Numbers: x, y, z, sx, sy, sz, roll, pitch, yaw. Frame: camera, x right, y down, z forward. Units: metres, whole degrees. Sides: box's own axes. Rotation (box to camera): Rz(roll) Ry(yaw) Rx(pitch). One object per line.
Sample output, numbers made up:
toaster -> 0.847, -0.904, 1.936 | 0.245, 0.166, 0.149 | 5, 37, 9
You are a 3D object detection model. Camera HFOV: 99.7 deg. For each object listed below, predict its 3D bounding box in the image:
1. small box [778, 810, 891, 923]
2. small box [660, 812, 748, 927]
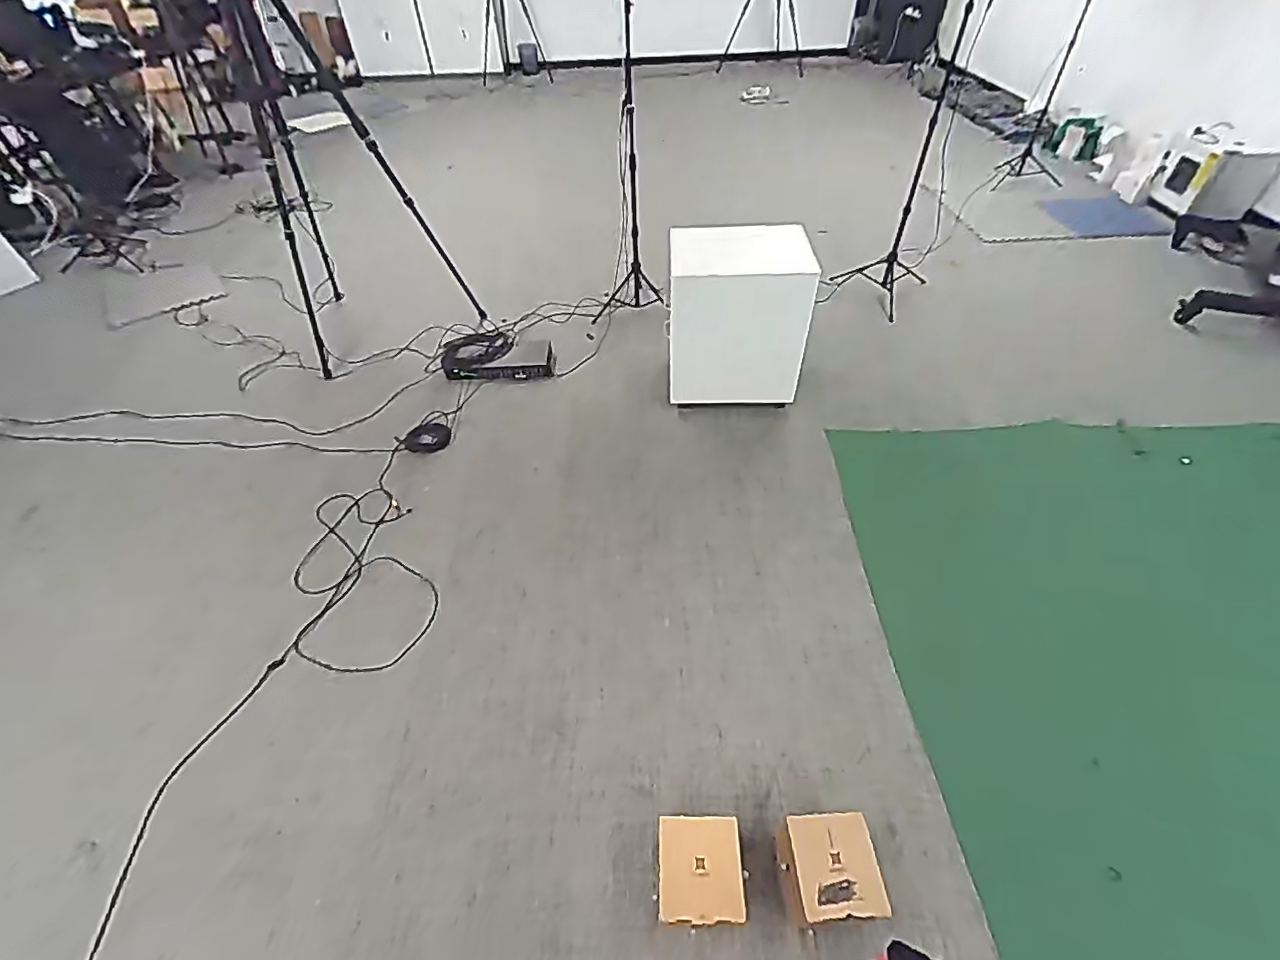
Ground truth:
small box -> 0.395, 0.812, 1.132 | 0.168, 0.176, 0.179 | -3, 47, 0
small box -> 0.127, 0.820, 1.139 | 0.168, 0.176, 0.179 | 0, 48, 2
